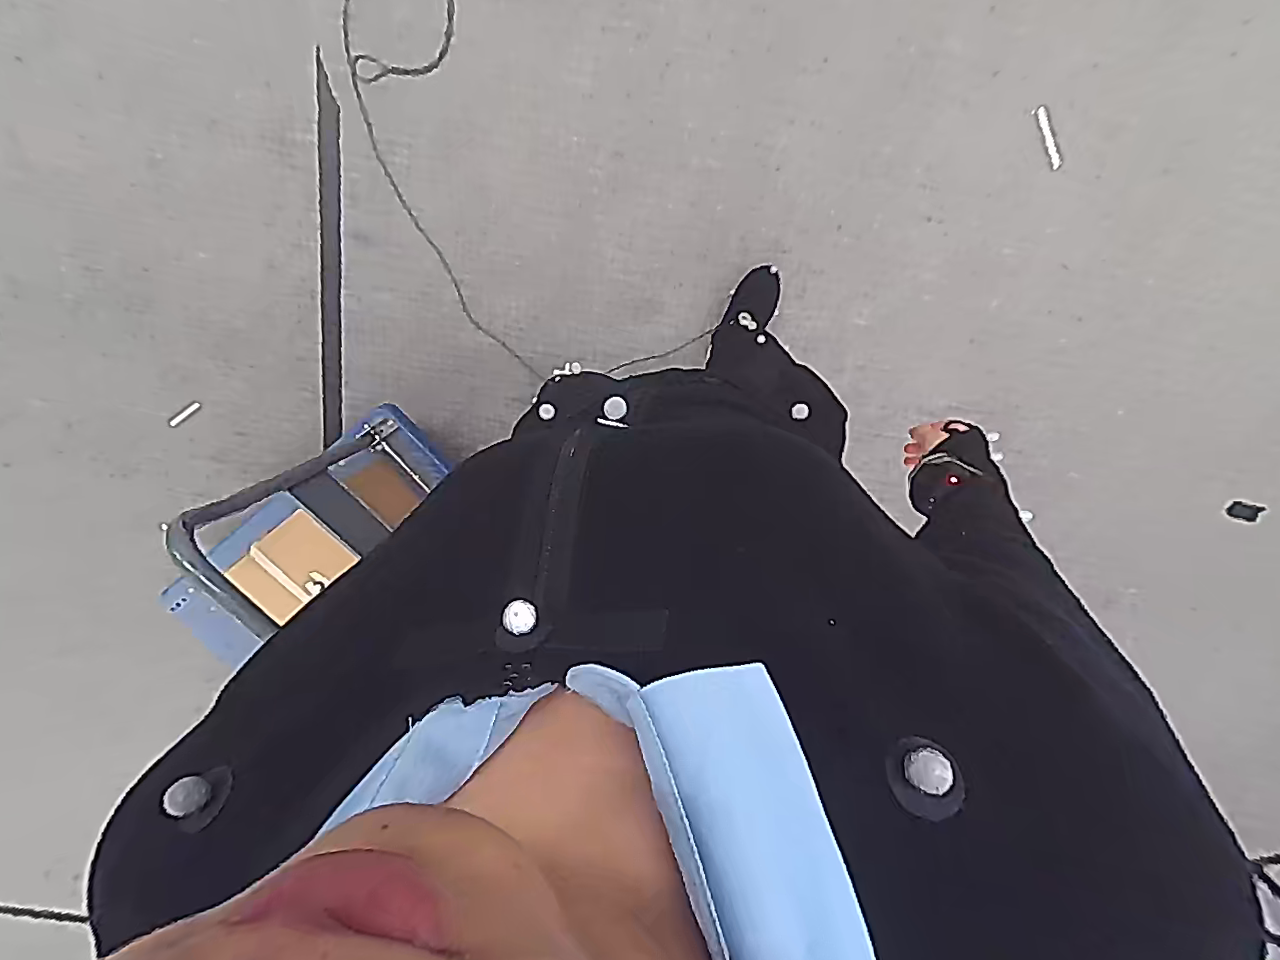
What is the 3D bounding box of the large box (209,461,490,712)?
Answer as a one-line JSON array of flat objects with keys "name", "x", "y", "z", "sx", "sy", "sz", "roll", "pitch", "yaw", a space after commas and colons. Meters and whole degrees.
[{"name": "large box", "x": -0.623, "y": 0.230, "z": 1.241, "sx": 0.320, "sy": 0.320, "sz": 0.408, "roll": -36, "pitch": 105, "yaw": 11}]
